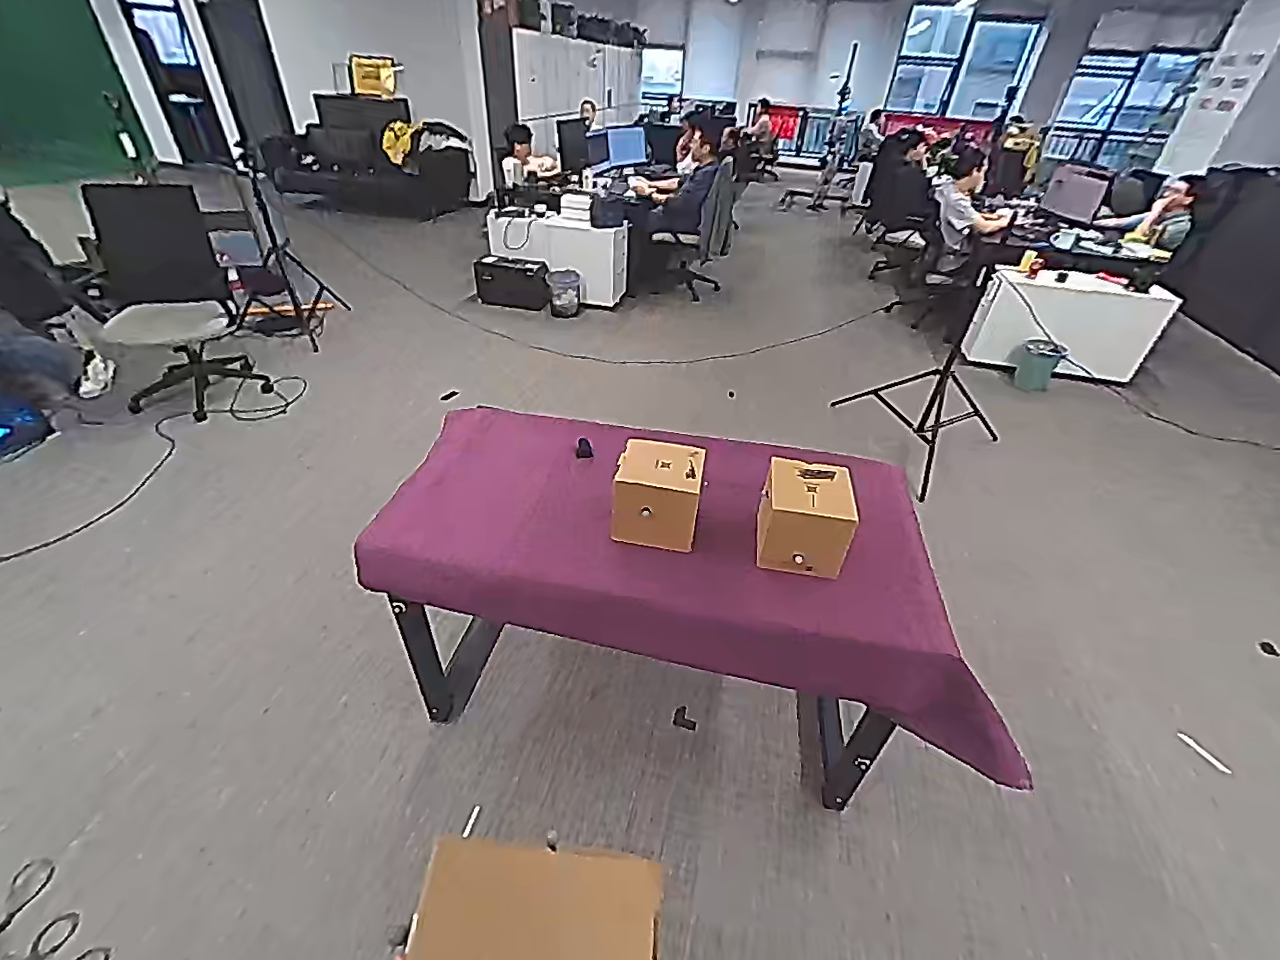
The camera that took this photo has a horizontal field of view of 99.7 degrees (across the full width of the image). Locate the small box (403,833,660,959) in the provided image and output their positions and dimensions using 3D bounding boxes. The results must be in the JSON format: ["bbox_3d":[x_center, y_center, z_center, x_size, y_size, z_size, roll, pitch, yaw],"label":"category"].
[{"bbox_3d":[-0.096,0.384,0.428,0.179,0.176,0.168,12,54,-12],"label":"small box"}]

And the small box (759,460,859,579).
[{"bbox_3d":[0.350,0.083,1.153,0.168,0.176,0.179,8,37,7],"label":"small box"}]

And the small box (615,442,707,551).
[{"bbox_3d":[0.046,0.036,1.193,0.179,0.176,0.168,8,37,7],"label":"small box"}]
